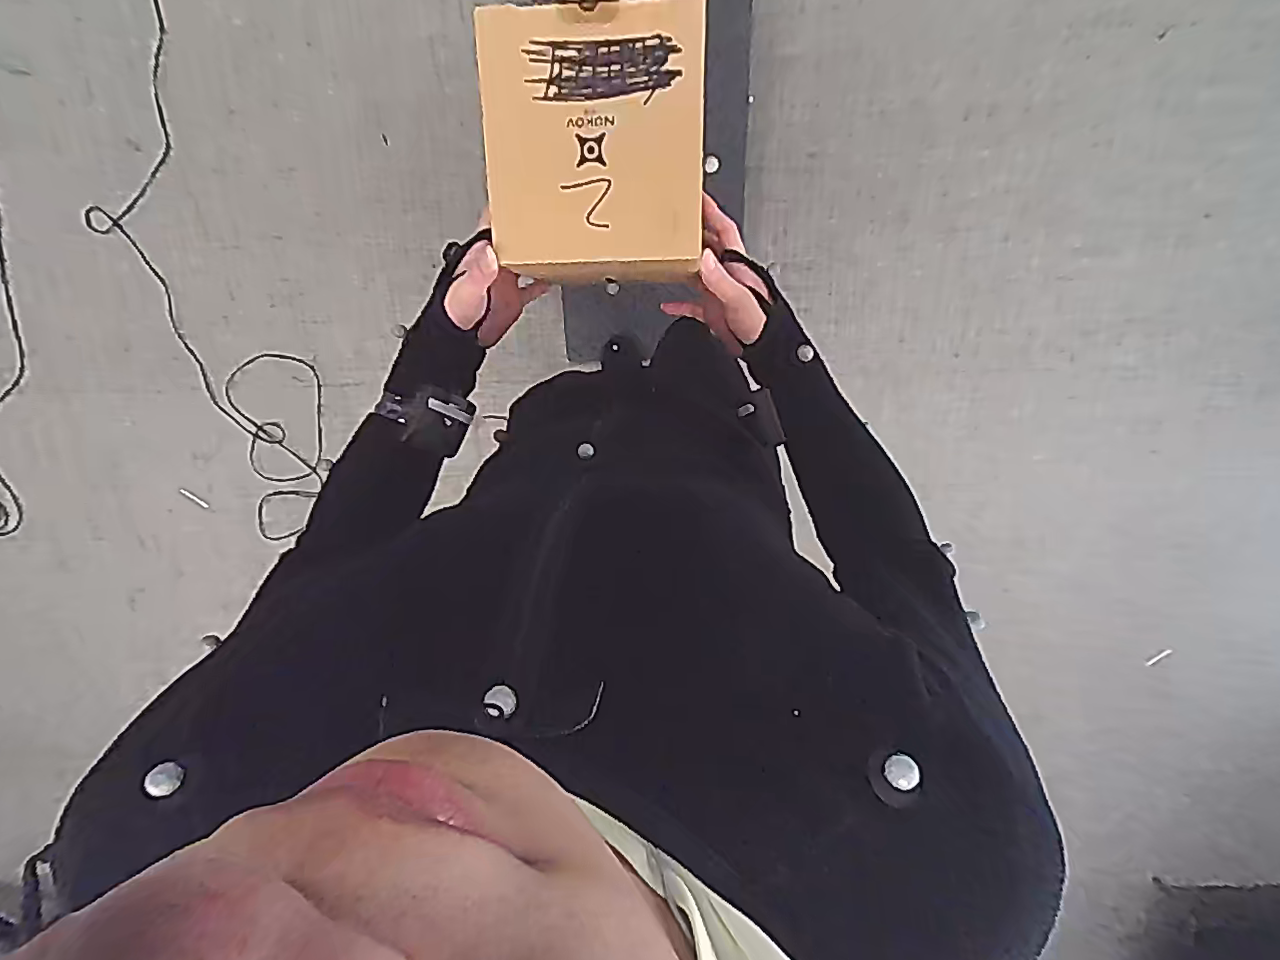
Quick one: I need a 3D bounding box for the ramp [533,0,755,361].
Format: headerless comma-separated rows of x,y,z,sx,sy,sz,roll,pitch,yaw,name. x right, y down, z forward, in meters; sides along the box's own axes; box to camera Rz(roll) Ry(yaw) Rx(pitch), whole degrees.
0.022,-0.797,1.317,0.509,0.206,0.991,-4,106,0,ramp
